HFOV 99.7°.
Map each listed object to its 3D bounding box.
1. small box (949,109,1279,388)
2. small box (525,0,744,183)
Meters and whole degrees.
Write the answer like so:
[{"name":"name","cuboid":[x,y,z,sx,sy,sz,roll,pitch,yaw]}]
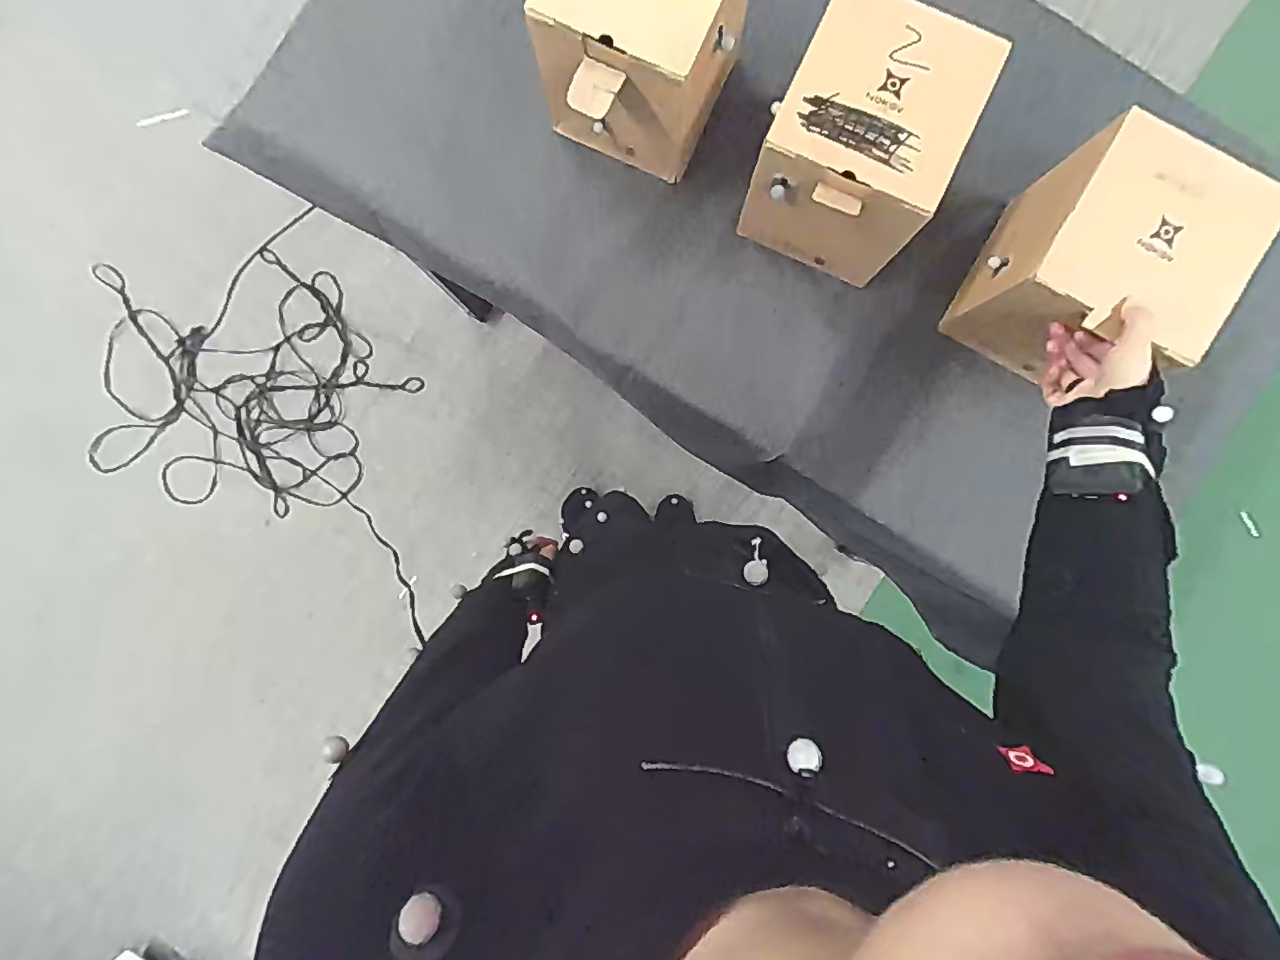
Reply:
[{"name":"small box","cuboid":[0.457,-0.213,0.553,0.168,0.176,0.179,28,91,1]},{"name":"small box","cuboid":[0.002,-0.463,0.569,0.168,0.176,0.179,24,90,1]}]
